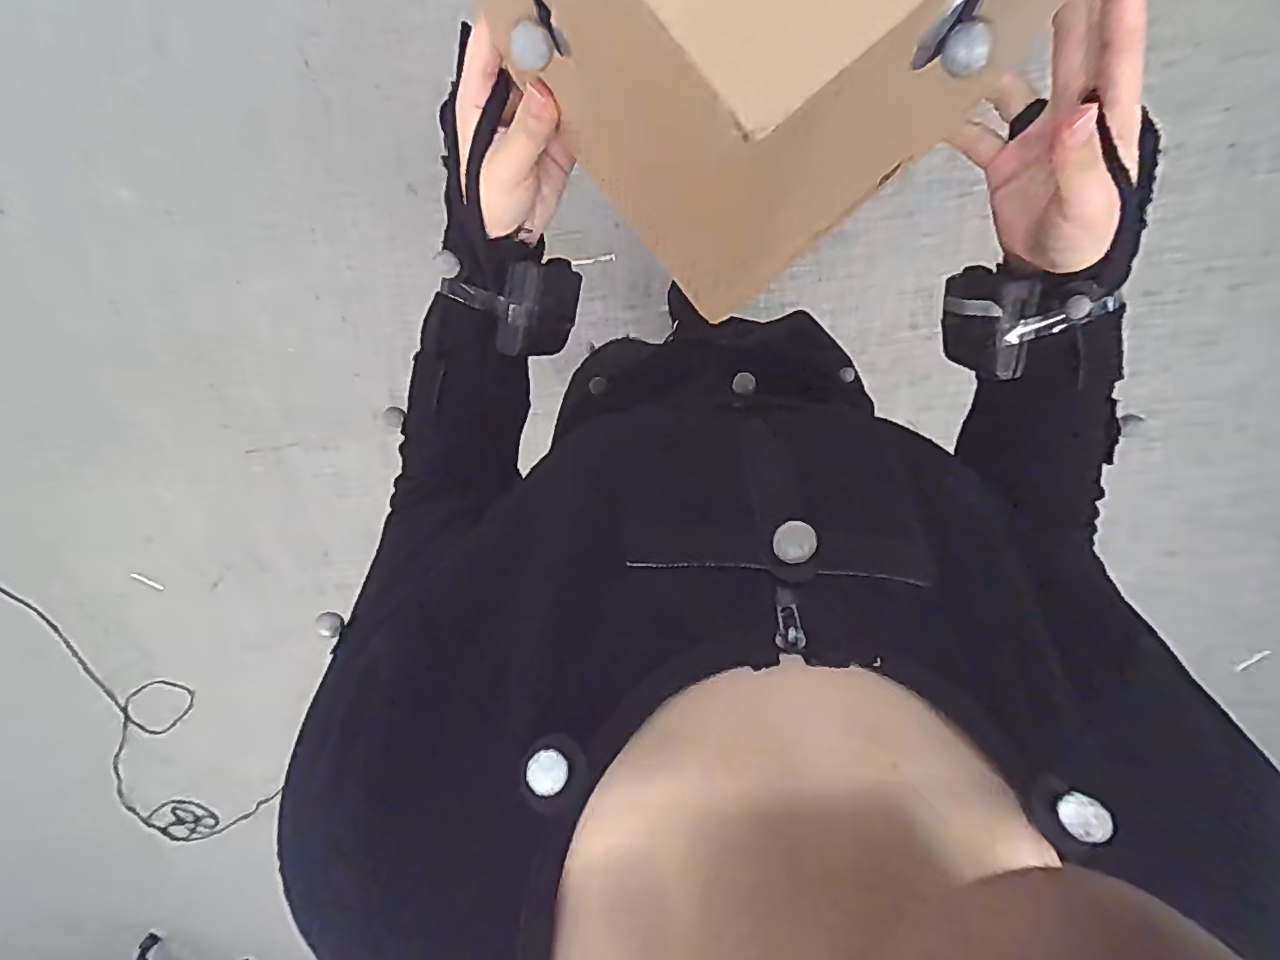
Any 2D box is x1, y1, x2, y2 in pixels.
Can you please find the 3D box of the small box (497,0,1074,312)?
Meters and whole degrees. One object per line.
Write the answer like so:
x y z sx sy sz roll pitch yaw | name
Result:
0.046 -0.196 0.206 0.168 0.176 0.179 -39 88 6 | small box
